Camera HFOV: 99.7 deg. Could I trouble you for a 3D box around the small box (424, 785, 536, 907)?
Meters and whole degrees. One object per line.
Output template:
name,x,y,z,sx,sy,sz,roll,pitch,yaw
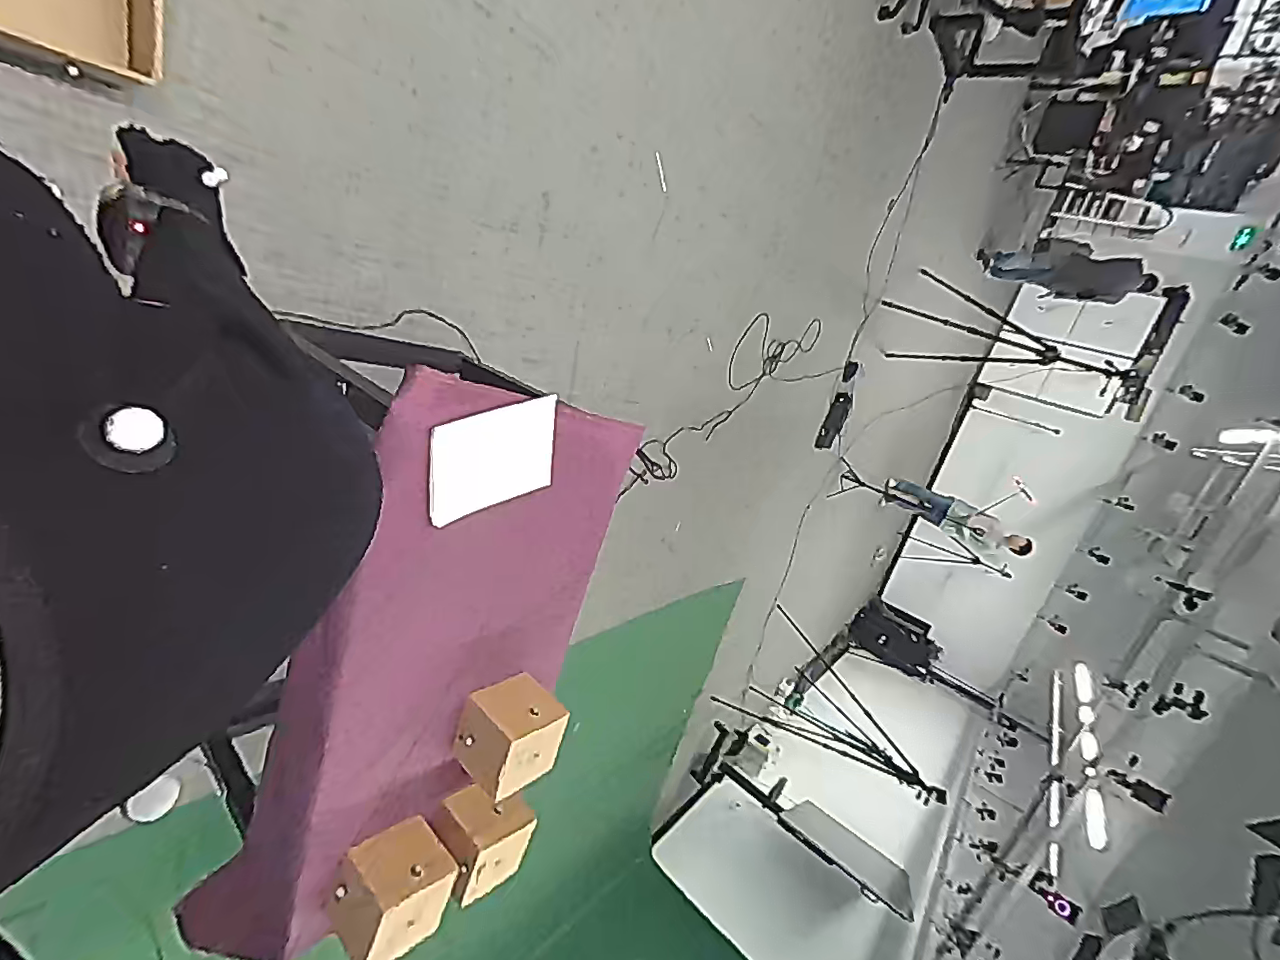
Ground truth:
small box,-0.395,0.876,1.331,0.179,0.176,0.168,6,107,-56

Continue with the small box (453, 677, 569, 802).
small box,-0.301,0.588,1.255,0.179,0.176,0.168,-1,113,-53
